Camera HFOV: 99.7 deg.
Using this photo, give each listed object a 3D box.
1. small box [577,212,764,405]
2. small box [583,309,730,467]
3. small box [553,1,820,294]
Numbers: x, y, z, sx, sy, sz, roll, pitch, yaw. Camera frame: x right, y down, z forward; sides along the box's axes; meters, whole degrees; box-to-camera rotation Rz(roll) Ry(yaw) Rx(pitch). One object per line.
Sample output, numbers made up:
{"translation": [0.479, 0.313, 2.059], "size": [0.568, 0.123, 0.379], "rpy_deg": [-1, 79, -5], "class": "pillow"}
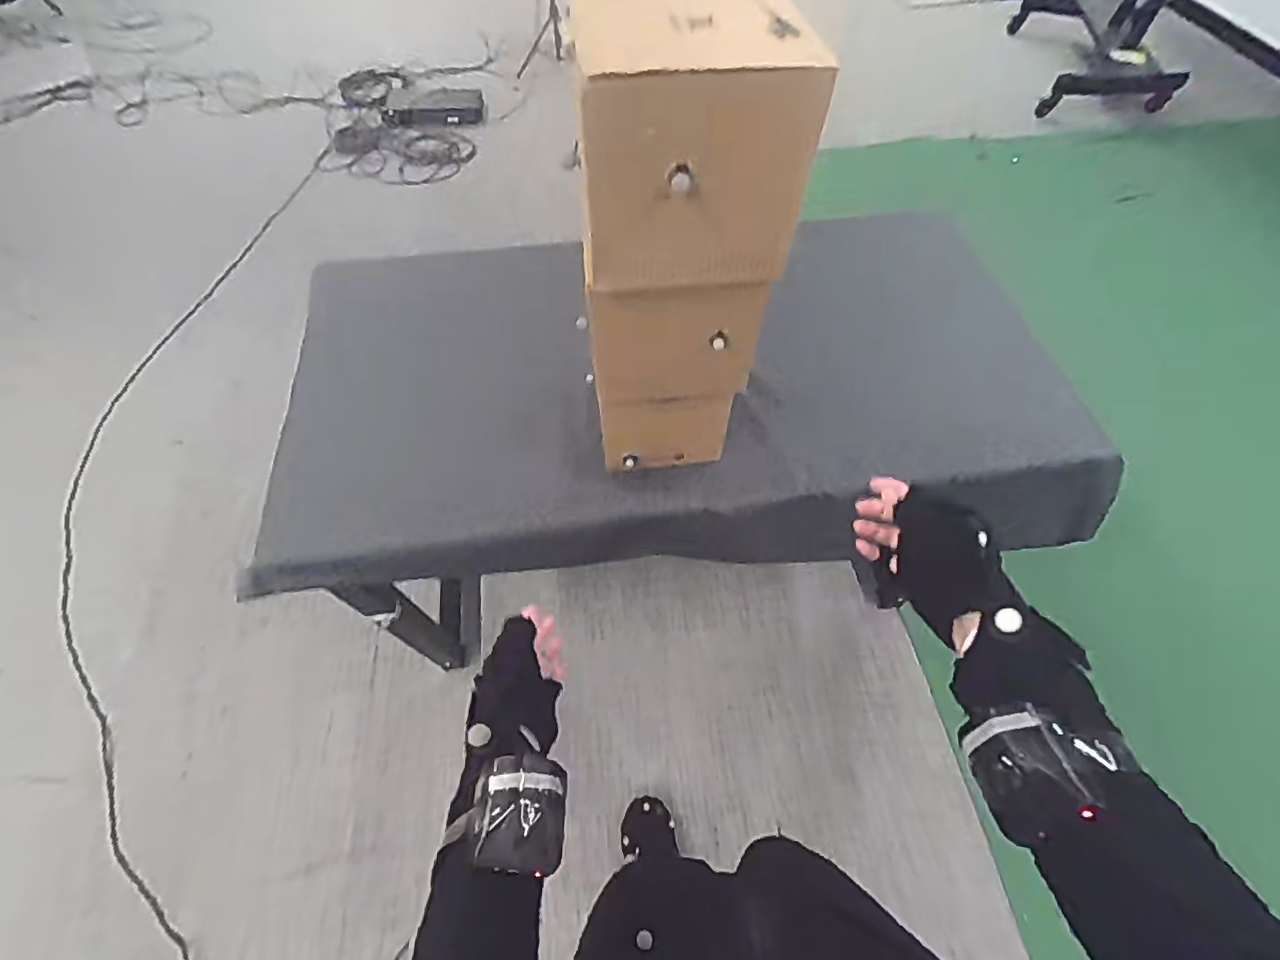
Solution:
{"translation": [0.026, -0.204, 0.615], "size": [0.179, 0.176, 0.168], "rpy_deg": [-6, 57, -2], "class": "small box"}
{"translation": [0.019, -0.132, 0.761], "size": [0.168, 0.176, 0.179], "rpy_deg": [-10, 60, -5], "class": "small box"}
{"translation": [0.028, -0.283, 0.475], "size": [0.179, 0.176, 0.168], "rpy_deg": [-9, 56, -6], "class": "small box"}
